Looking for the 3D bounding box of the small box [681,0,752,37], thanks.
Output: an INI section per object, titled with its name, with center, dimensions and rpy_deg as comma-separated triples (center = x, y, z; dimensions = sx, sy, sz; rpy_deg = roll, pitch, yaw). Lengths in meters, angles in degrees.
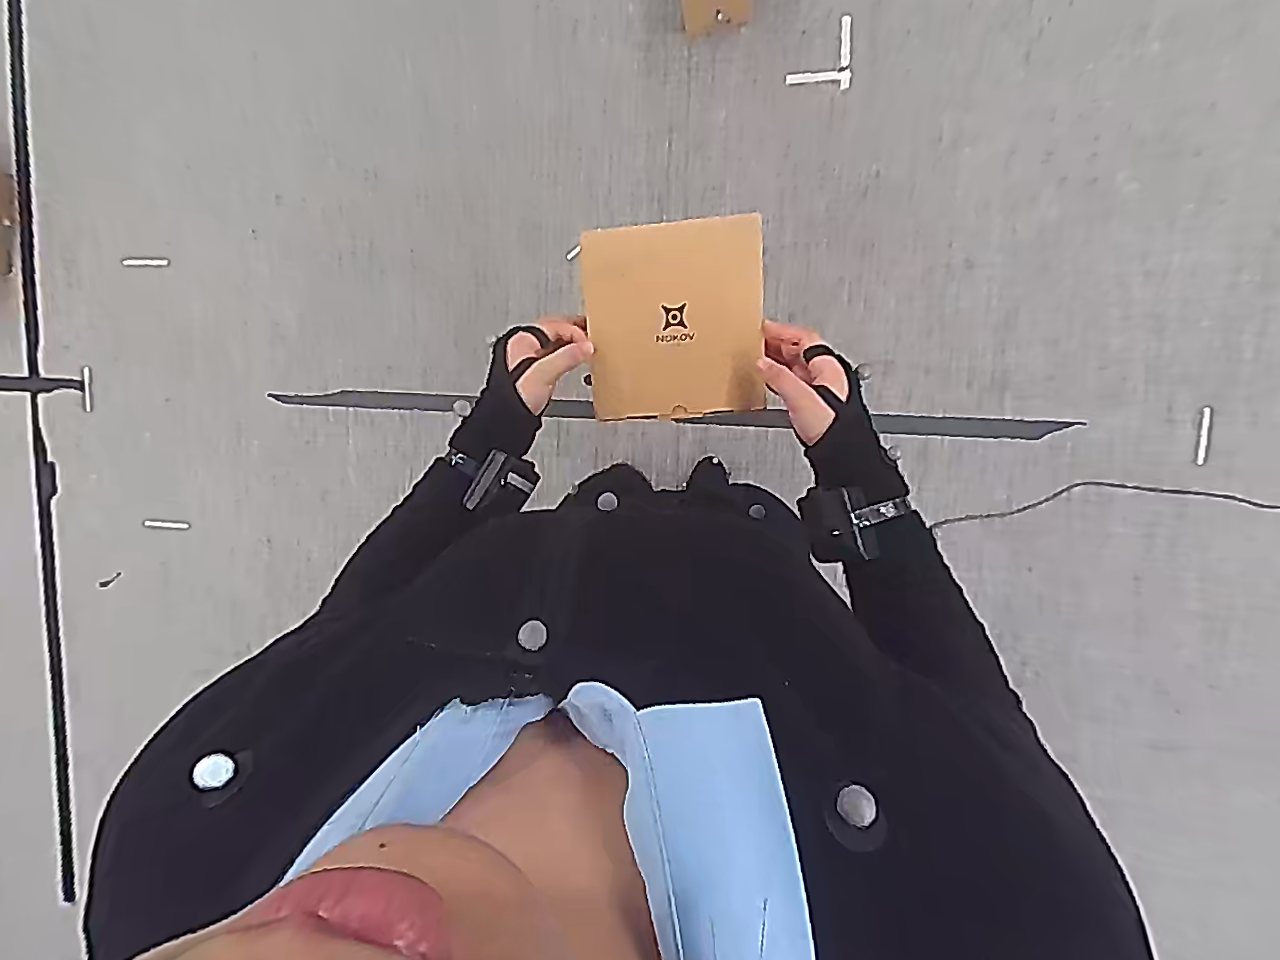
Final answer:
[small box]
center = 0.176, -1.228, 1.297
dimensions = 0.168, 0.176, 0.179
rpy_deg = -9, 93, 8
